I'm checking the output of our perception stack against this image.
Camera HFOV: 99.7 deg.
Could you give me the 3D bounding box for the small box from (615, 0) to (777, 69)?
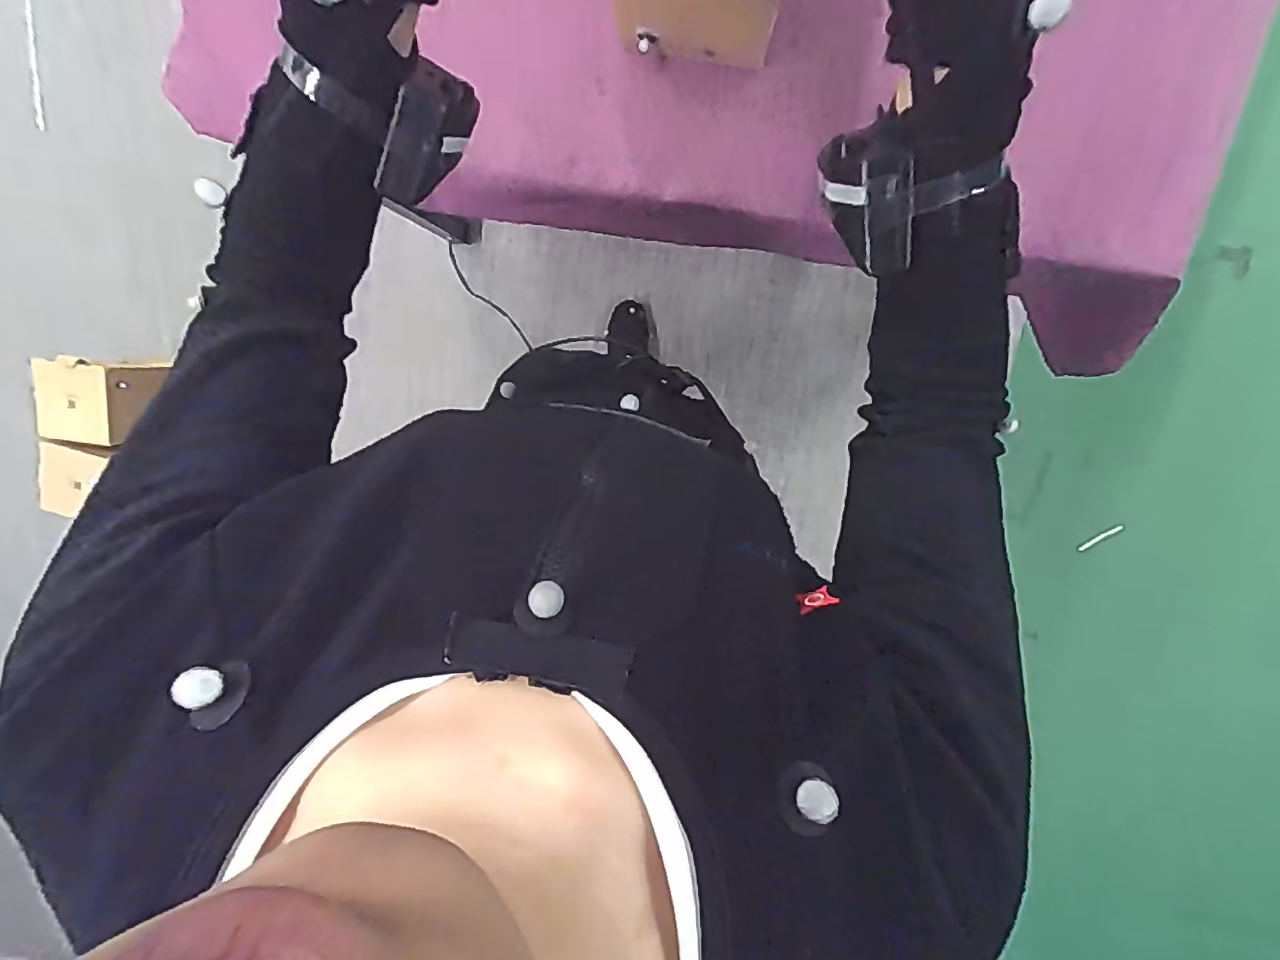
[{"bbox_3d":[0.068,-0.552,0.534,0.168,0.176,0.179,10,101,1],"label":"small box"}]
